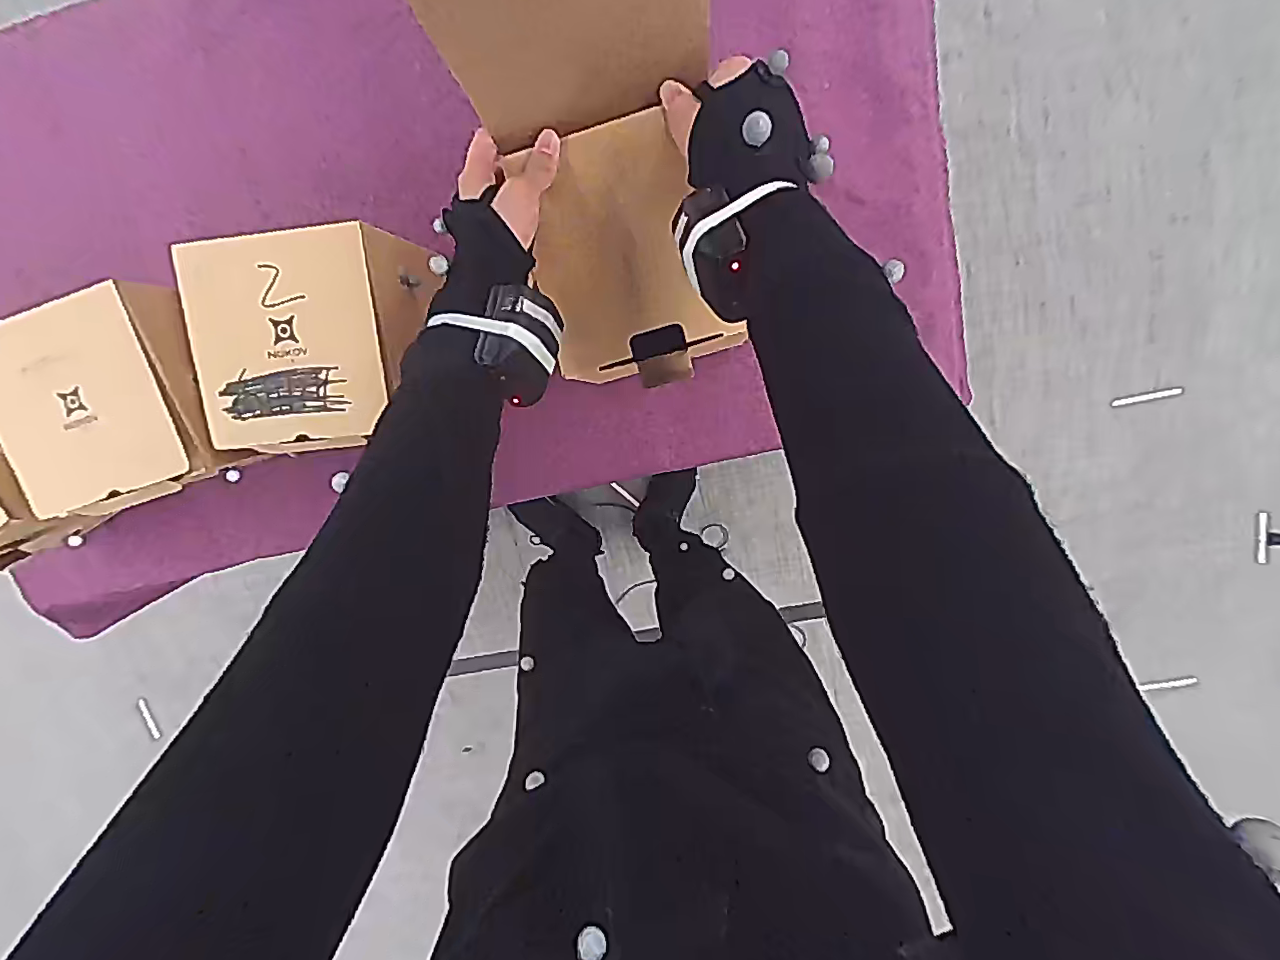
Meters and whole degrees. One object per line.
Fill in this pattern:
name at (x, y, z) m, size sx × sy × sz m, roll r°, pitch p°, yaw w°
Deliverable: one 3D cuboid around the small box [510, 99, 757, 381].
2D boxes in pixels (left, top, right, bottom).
small box at (0.001, -0.197, 0.502) m, size 0.168 × 0.176 × 0.179 m, roll -13°, pitch 97°, yaw 7°
